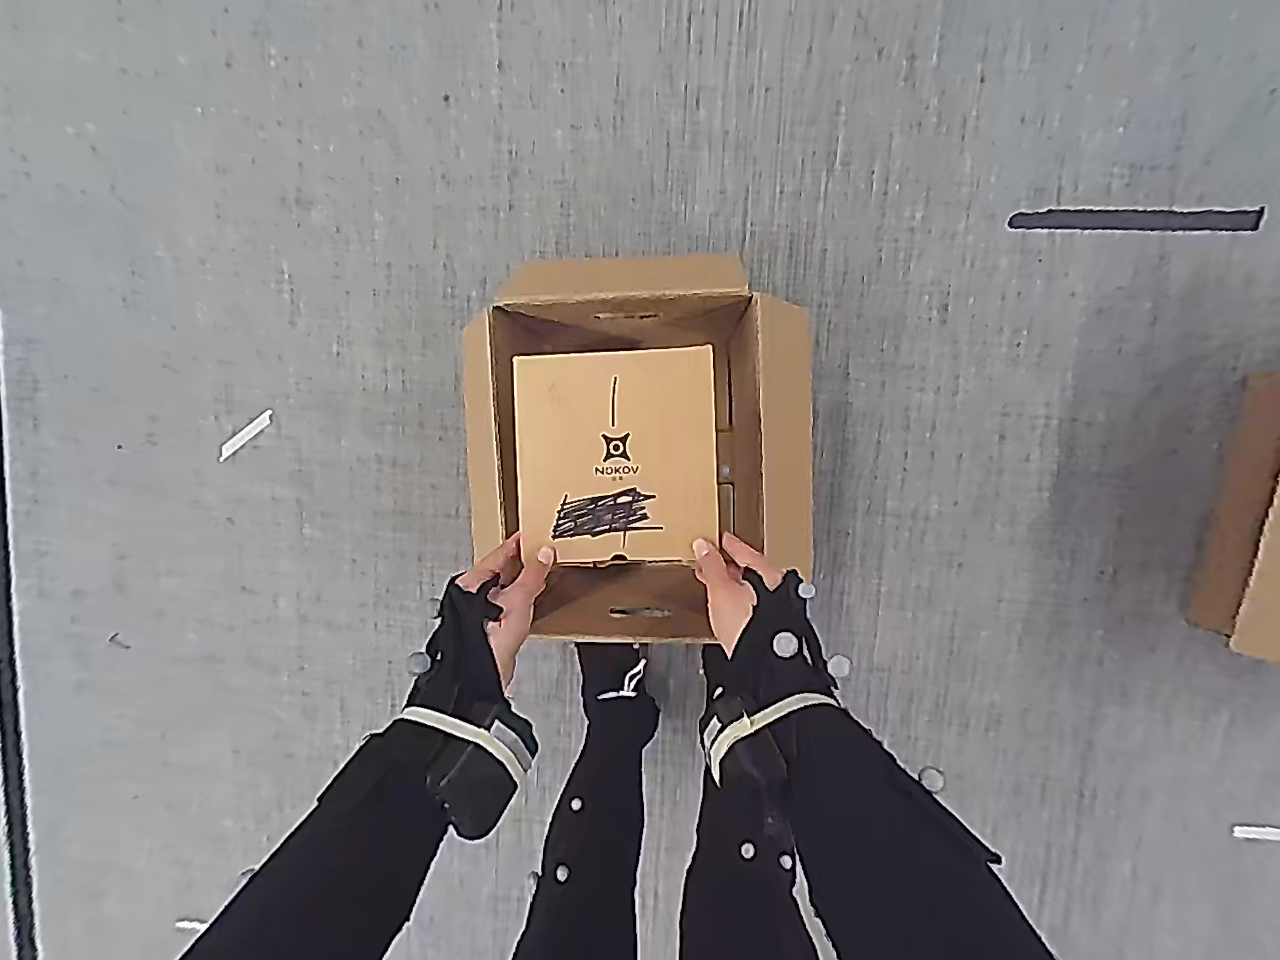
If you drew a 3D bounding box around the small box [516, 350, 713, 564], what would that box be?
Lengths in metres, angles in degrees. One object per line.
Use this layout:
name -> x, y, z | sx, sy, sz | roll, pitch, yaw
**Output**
small box -> -0.015, -0.019, 0.530 | 0.168, 0.176, 0.179 | -2, 90, 4
